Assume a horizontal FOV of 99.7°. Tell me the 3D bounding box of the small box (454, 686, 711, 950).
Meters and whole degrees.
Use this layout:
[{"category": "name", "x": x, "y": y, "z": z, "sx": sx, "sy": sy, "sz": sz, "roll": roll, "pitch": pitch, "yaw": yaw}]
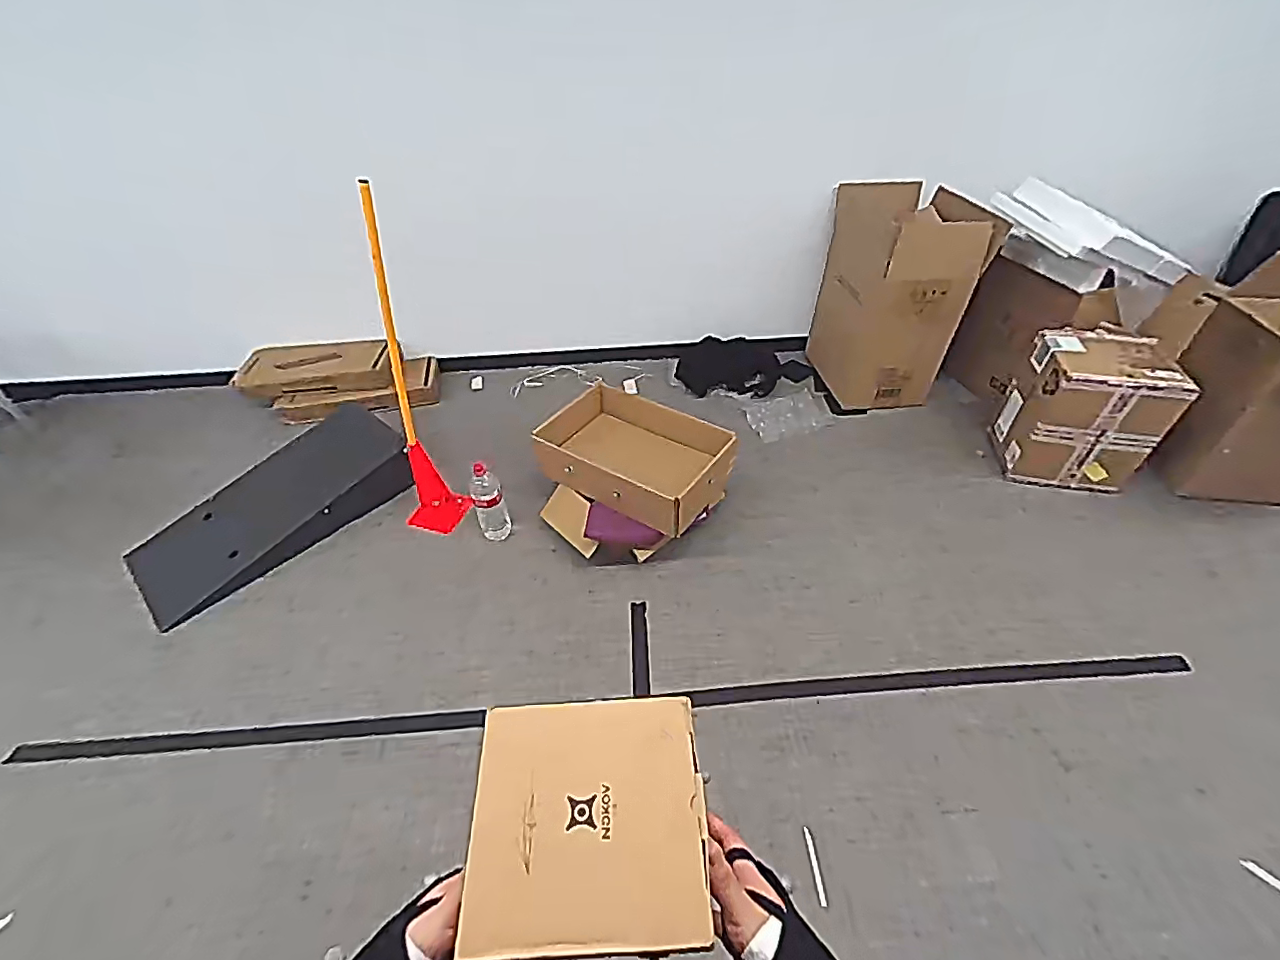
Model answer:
[{"category": "small box", "x": -0.038, "y": 0.297, "z": 0.473, "sx": 0.179, "sy": 0.176, "sz": 0.168, "roll": -5, "pitch": 47, "yaw": 1}]
